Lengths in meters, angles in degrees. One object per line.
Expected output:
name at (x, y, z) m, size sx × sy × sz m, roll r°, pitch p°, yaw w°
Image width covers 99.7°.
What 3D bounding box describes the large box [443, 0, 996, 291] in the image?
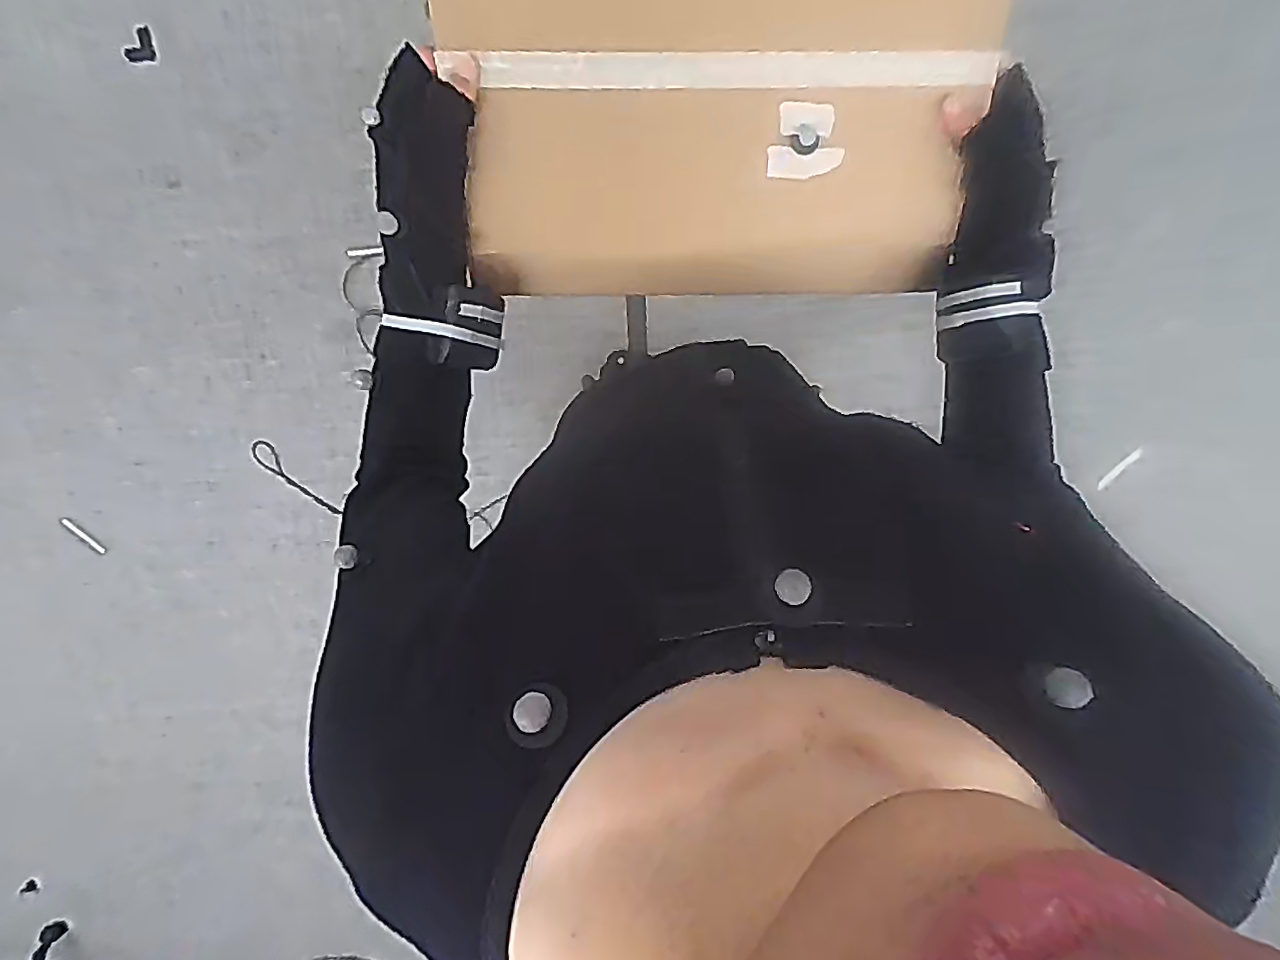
large box at (0.052, -0.377, 0.535) m, size 0.408 × 0.320 × 0.320 m, roll -2°, pitch 118°, yaw -2°
